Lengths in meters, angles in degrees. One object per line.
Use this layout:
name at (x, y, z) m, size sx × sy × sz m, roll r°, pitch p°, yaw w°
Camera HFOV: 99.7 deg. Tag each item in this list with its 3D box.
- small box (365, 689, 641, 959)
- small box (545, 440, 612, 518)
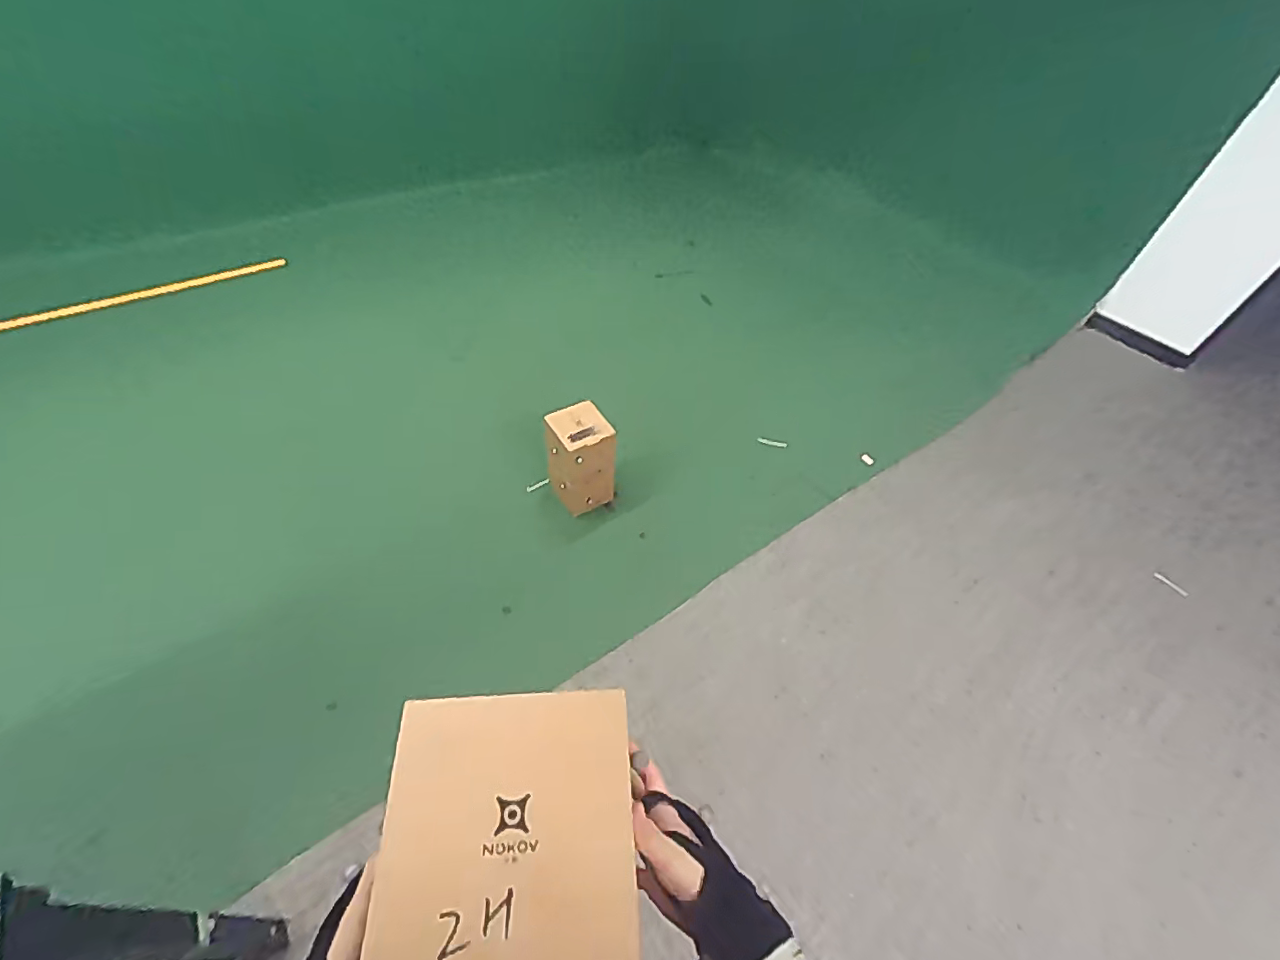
small box at (-0.091, 0.279, 0.427) m, size 0.168 × 0.176 × 0.179 m, roll 0°, pitch 54°, yaw -5°
small box at (-0.213, -0.002, 1.859) m, size 0.168 × 0.176 × 0.179 m, roll -24°, pitch 56°, yaw -24°
